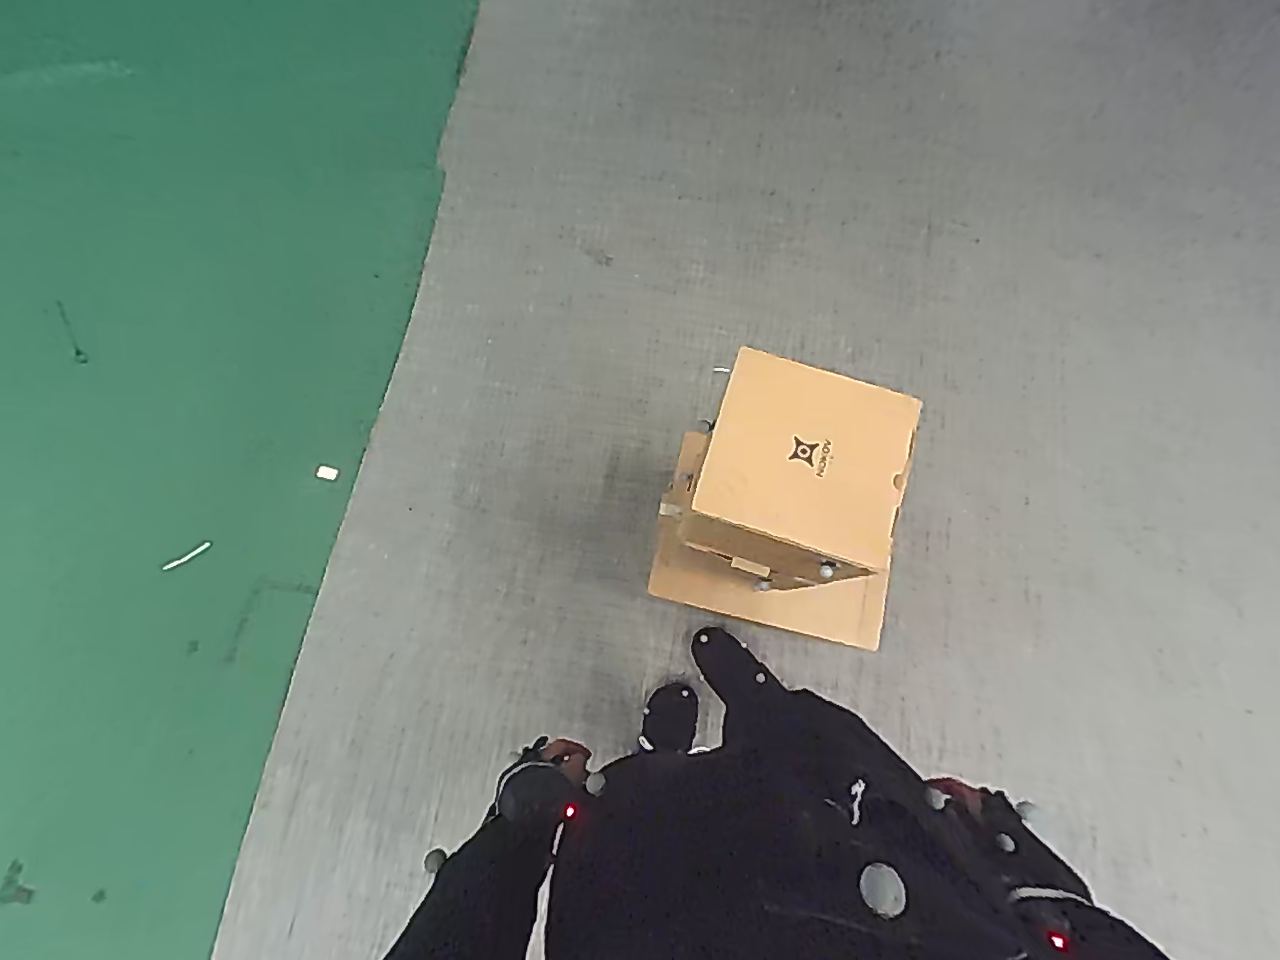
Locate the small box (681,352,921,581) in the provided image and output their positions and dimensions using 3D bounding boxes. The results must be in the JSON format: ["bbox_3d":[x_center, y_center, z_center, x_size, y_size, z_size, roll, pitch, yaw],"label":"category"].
[{"bbox_3d":[0.148,-0.001,0.554,0.179,0.176,0.168,18,76,3],"label":"small box"}]

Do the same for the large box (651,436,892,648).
[{"bbox_3d":[0.246,0.137,1.105,0.408,0.320,0.320,13,78,4],"label":"large box"}]

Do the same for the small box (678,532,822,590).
[{"bbox_3d":[0.151,0.040,0.712,0.168,0.176,0.179,16,76,3],"label":"small box"}]
